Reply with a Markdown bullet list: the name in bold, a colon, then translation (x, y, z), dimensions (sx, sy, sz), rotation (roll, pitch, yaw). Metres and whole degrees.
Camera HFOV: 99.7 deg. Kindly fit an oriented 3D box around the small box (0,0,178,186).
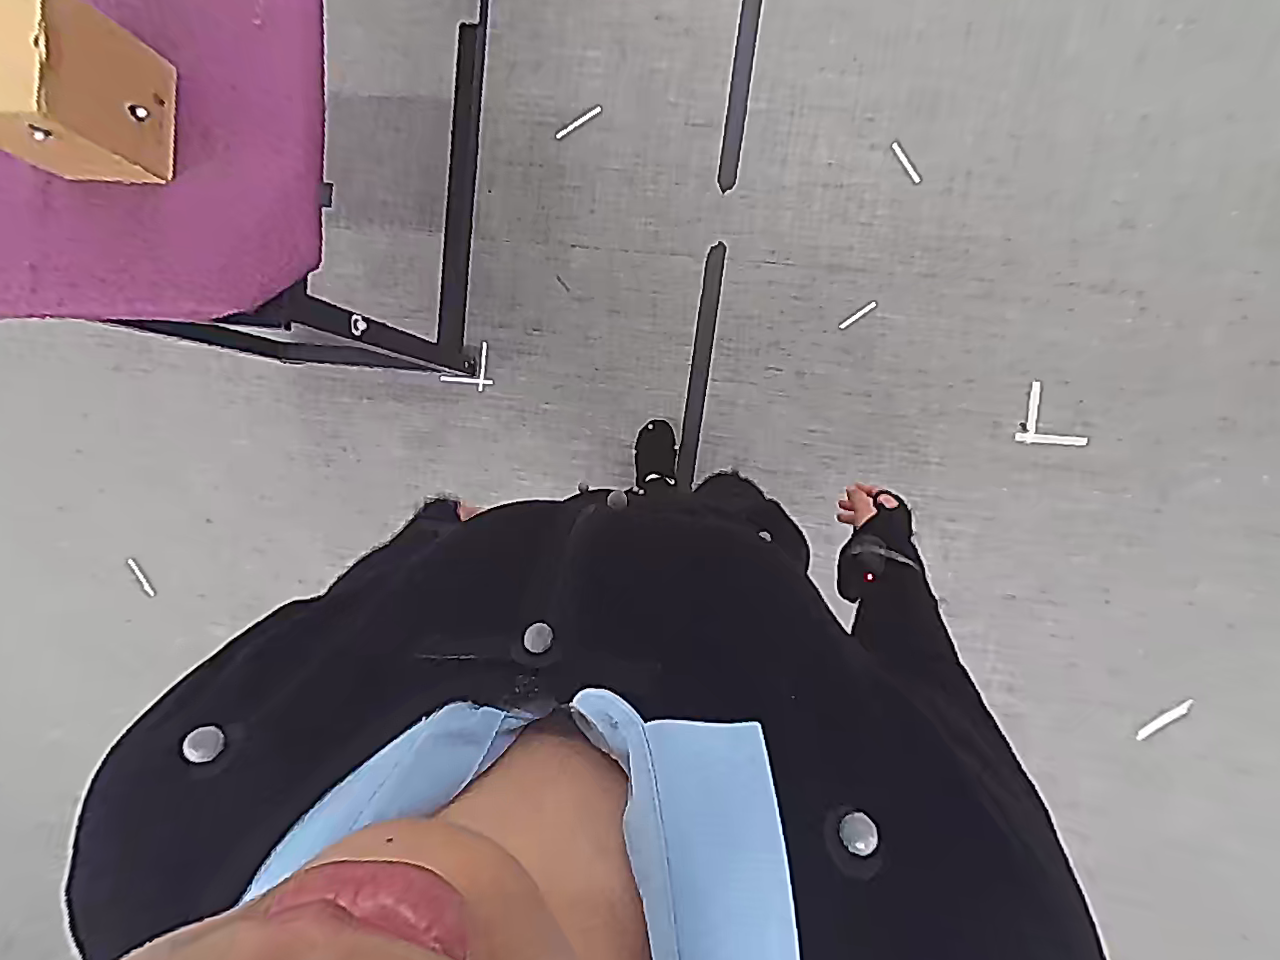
- **small box**: translation (-0.774, -0.514, 0.717), dimensions (0.179, 0.176, 0.168), rotation (4, 93, 4)
